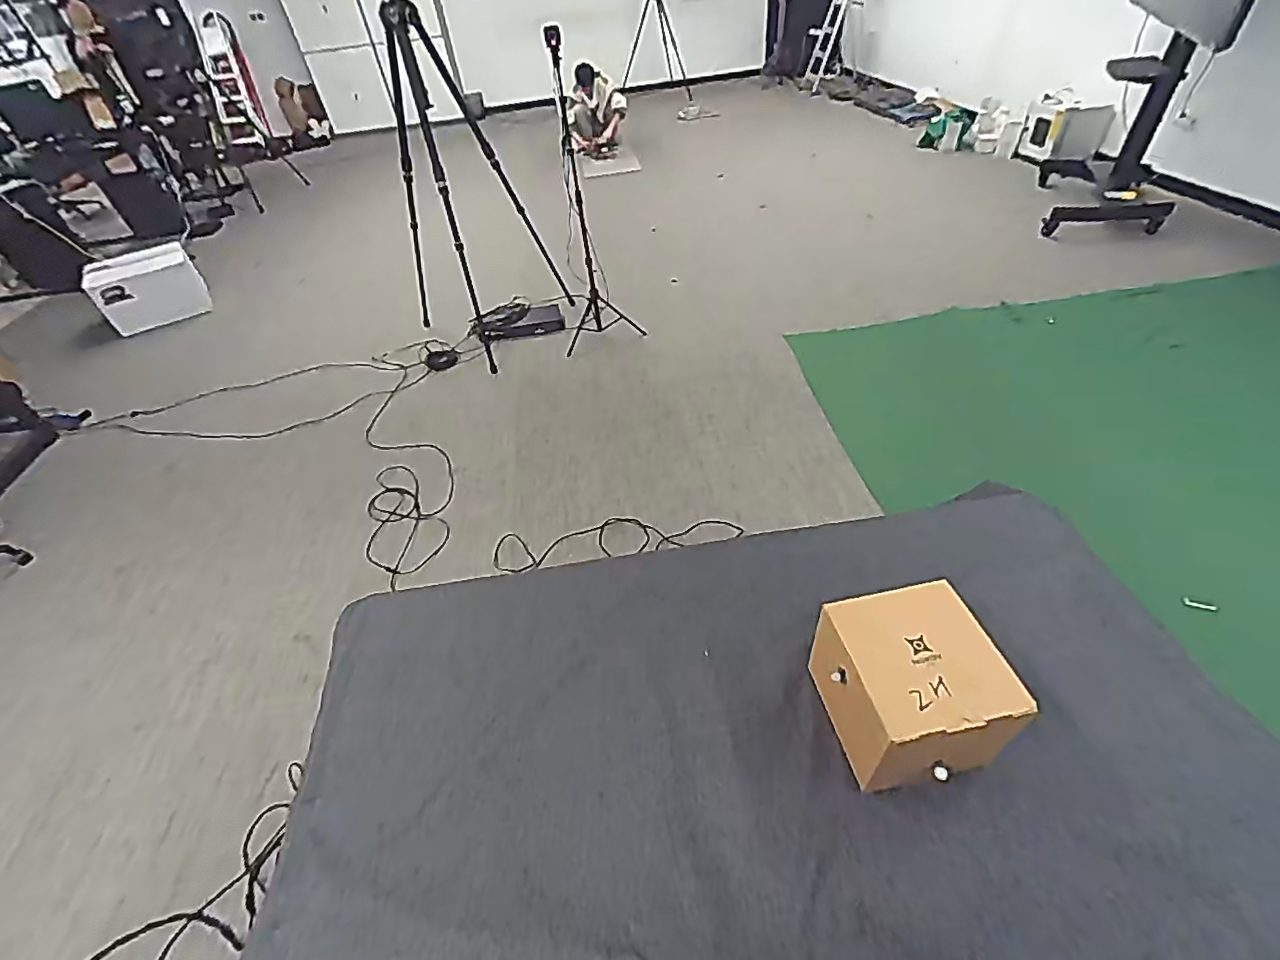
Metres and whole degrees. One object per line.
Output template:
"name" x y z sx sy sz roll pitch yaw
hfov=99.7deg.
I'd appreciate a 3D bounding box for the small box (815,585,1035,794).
"small box" 0.336 0.265 0.686 0.168 0.176 0.179 -11 43 -2
